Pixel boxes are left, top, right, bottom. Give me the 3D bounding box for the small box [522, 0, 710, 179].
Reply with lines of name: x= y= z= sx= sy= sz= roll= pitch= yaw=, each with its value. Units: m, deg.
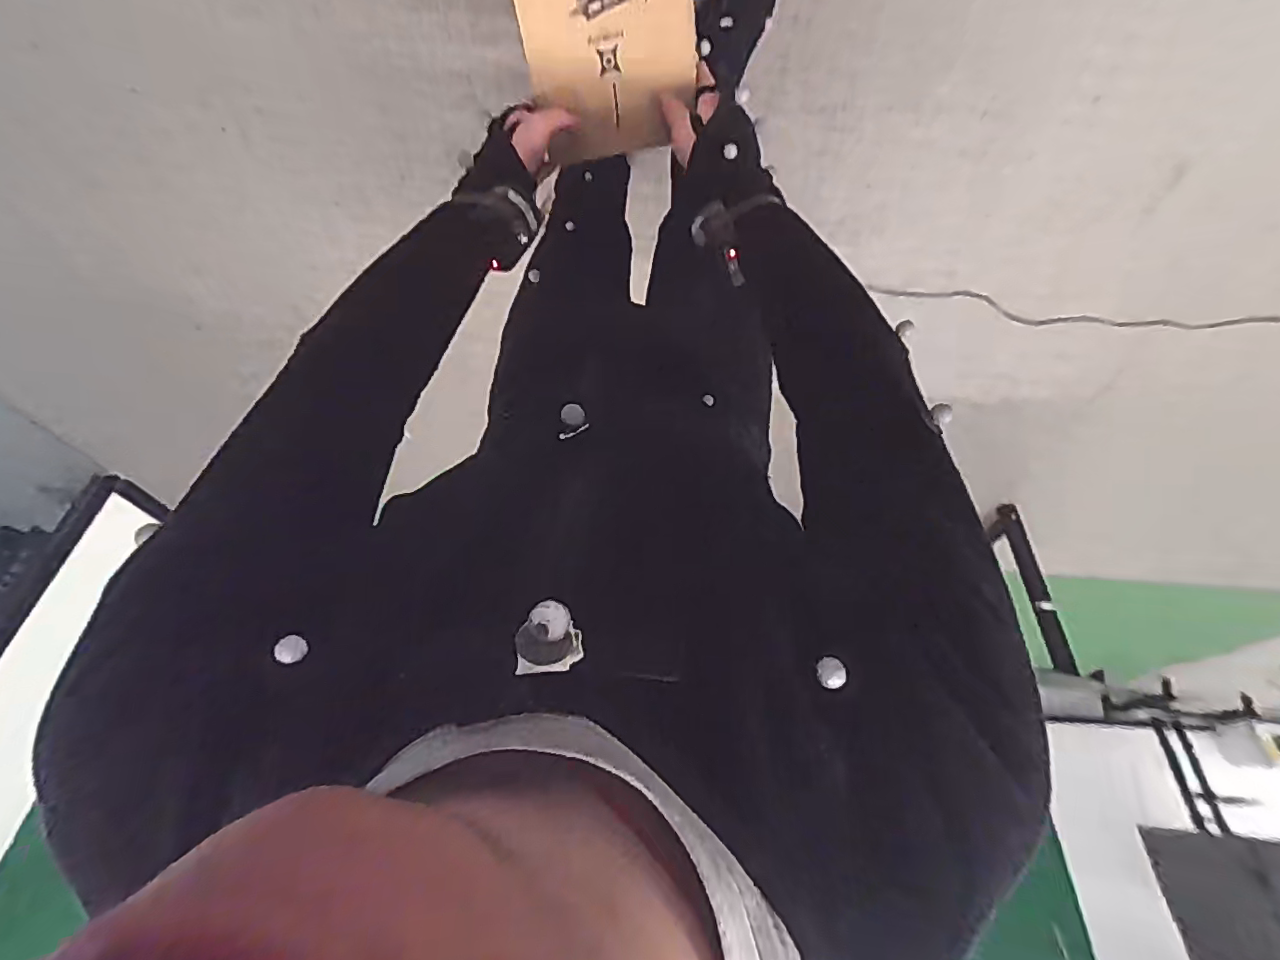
small box: x=-0.013 y=-0.451 z=0.599 sx=0.168 sy=0.176 sz=0.179 roll=-5 pitch=123 yaw=11
